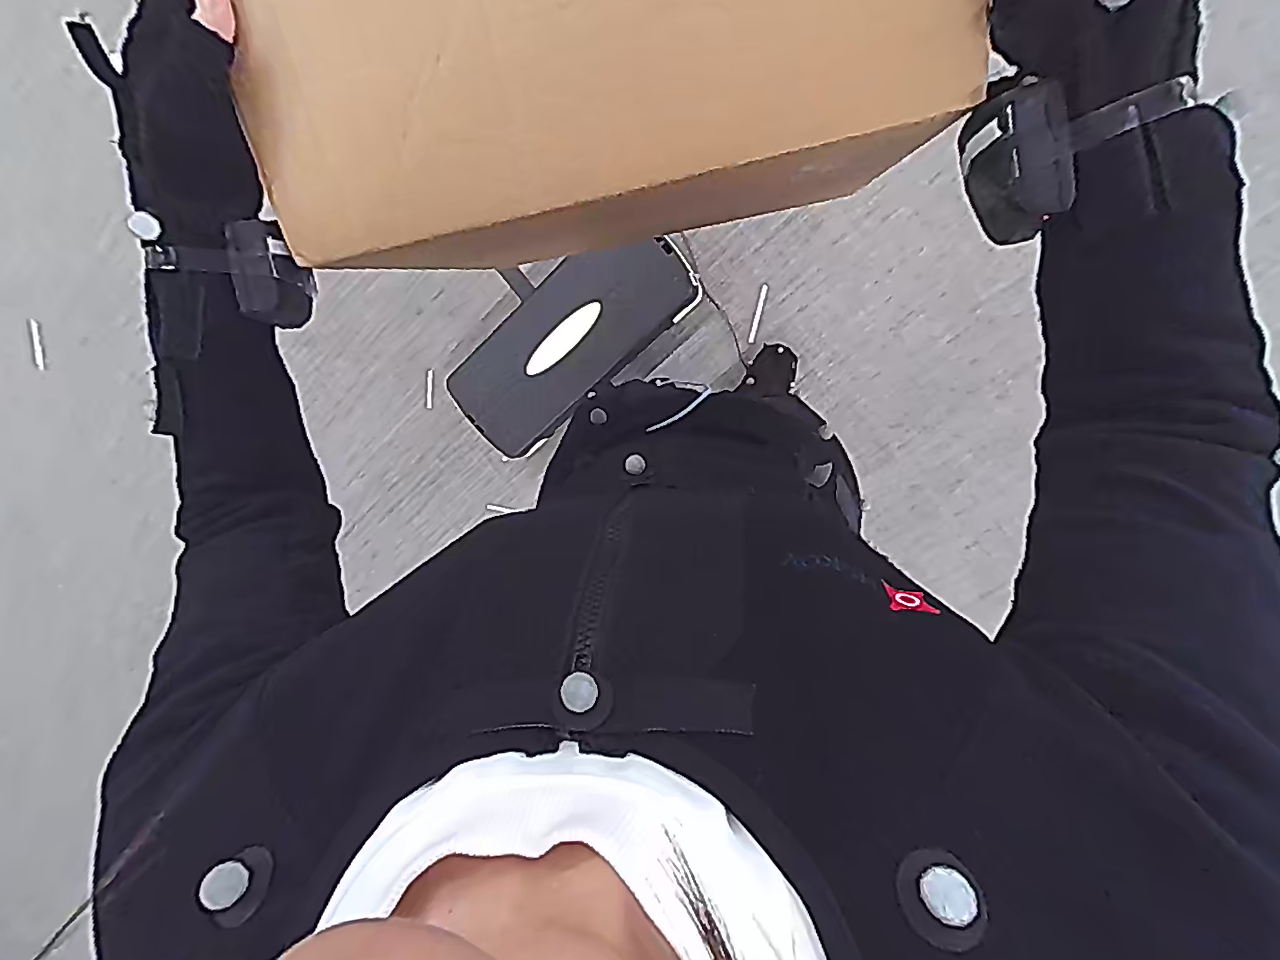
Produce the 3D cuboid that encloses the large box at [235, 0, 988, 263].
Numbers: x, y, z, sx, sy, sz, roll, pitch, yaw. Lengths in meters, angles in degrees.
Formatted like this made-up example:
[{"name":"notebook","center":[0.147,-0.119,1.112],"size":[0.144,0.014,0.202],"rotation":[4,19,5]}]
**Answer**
[{"name":"large box","center":[-0.023,-0.369,0.407],"size":[0.408,0.320,0.320],"rotation":[-7,110,12]}]
